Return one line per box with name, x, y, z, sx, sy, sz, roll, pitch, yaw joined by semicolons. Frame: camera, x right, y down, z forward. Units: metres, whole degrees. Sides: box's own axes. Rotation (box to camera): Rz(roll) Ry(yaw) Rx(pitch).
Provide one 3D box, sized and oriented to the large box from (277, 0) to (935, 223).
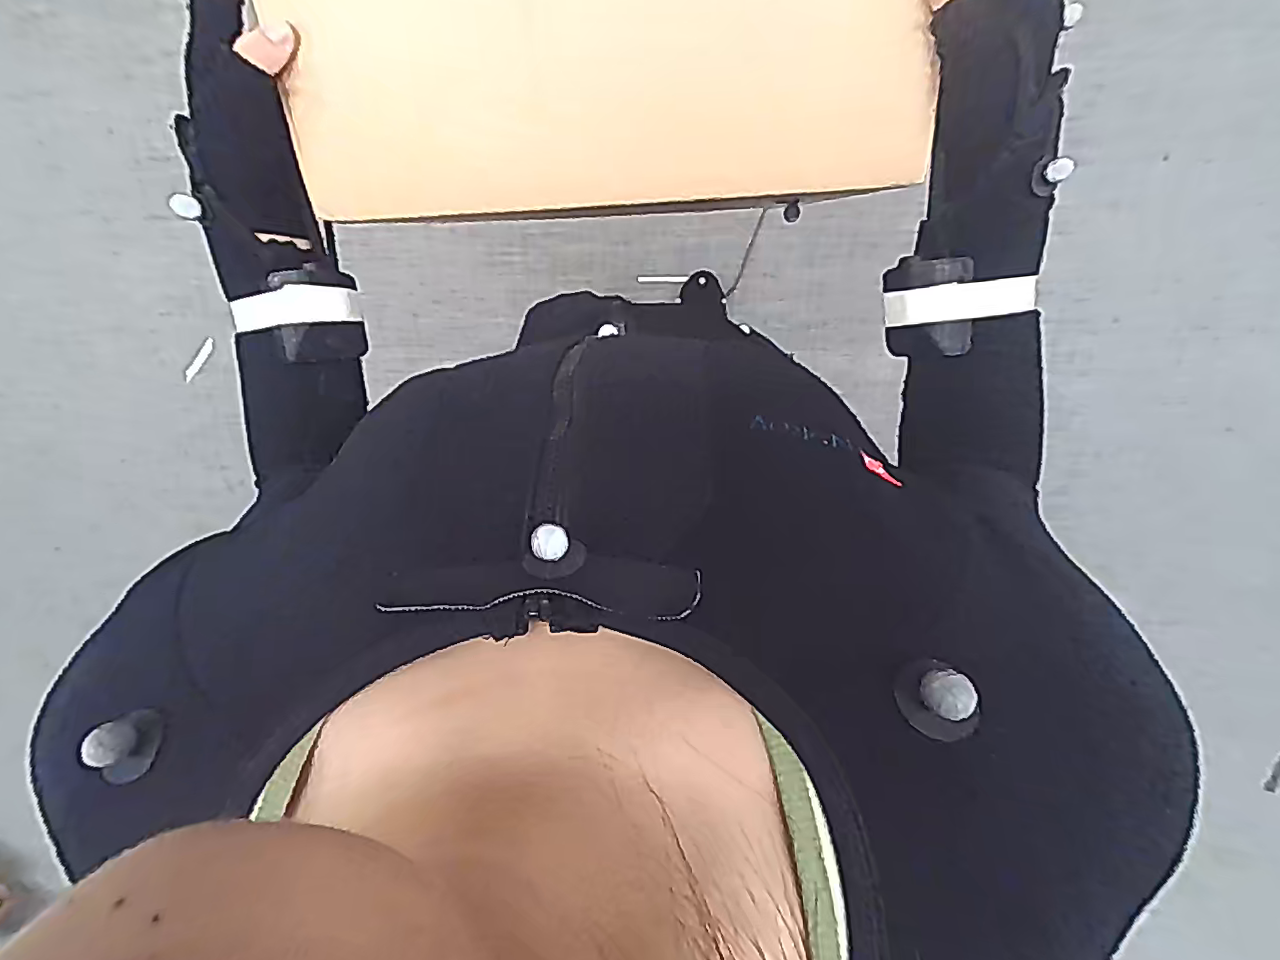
large box;-0.017;-0.395;0.438;0.408;0.320;0.320;-1;115;5
